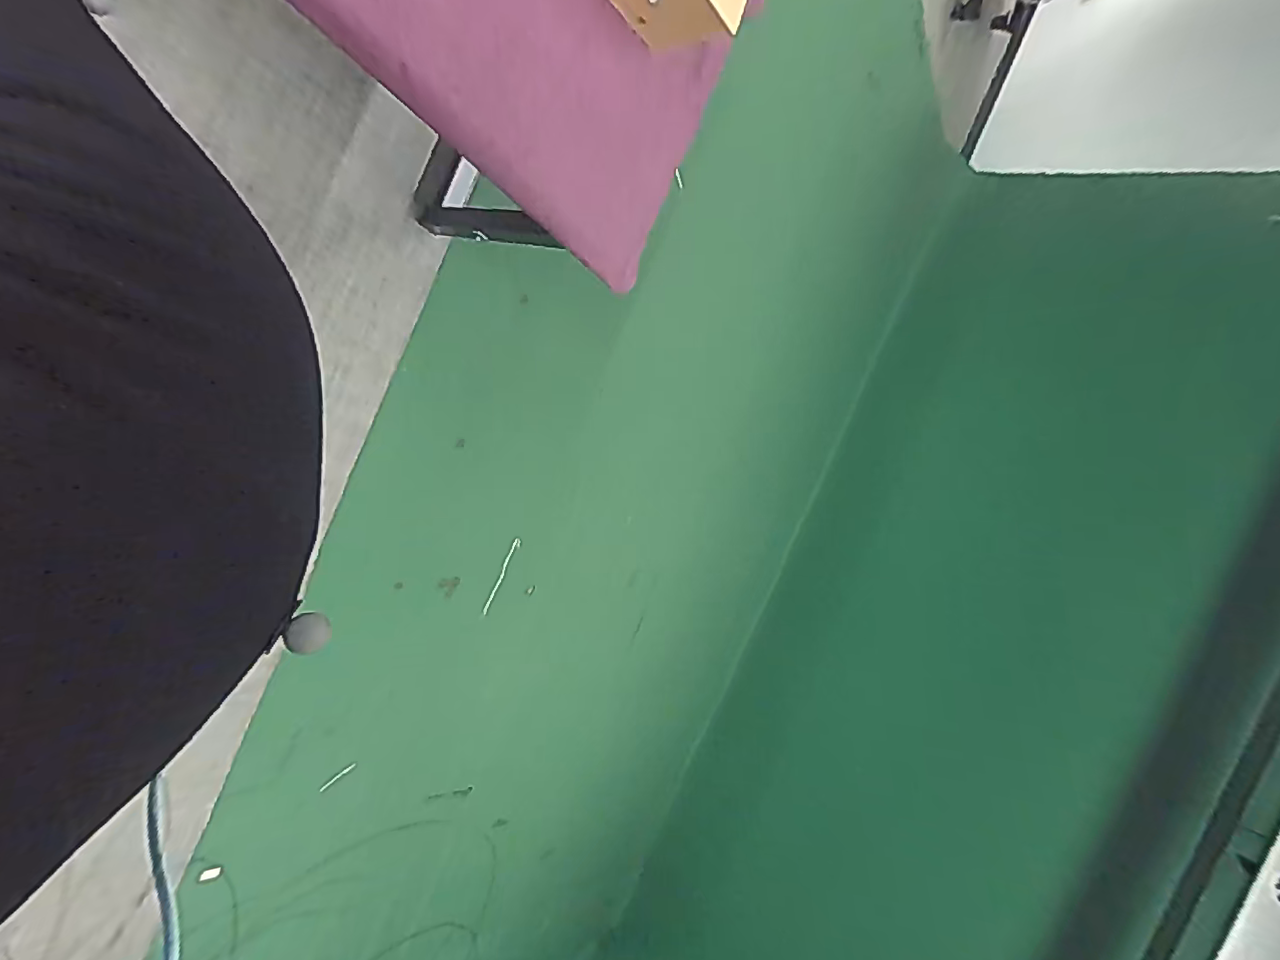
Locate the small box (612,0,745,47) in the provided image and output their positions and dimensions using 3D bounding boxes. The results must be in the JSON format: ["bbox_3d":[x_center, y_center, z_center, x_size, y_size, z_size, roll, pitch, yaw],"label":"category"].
[{"bbox_3d":[0.052,-0.758,0.759,0.168,0.176,0.179,8,103,-51],"label":"small box"}]
